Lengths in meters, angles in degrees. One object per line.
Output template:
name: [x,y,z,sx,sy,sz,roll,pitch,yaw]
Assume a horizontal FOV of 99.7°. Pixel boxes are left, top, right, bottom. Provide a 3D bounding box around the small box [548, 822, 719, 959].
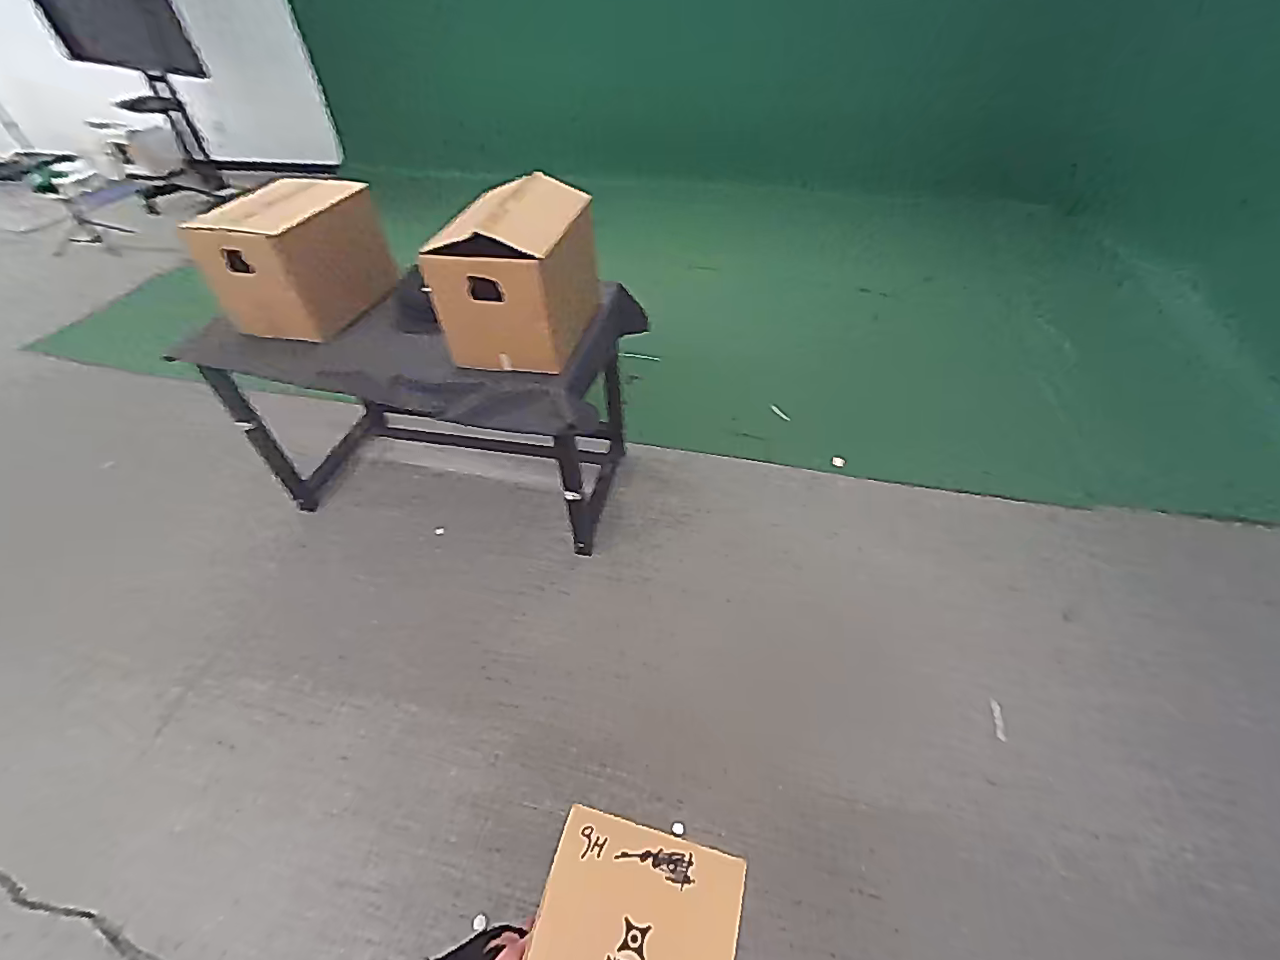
small box: [-0.007,0.535,0.635,0.168,0.176,0.179,10,49,8]
